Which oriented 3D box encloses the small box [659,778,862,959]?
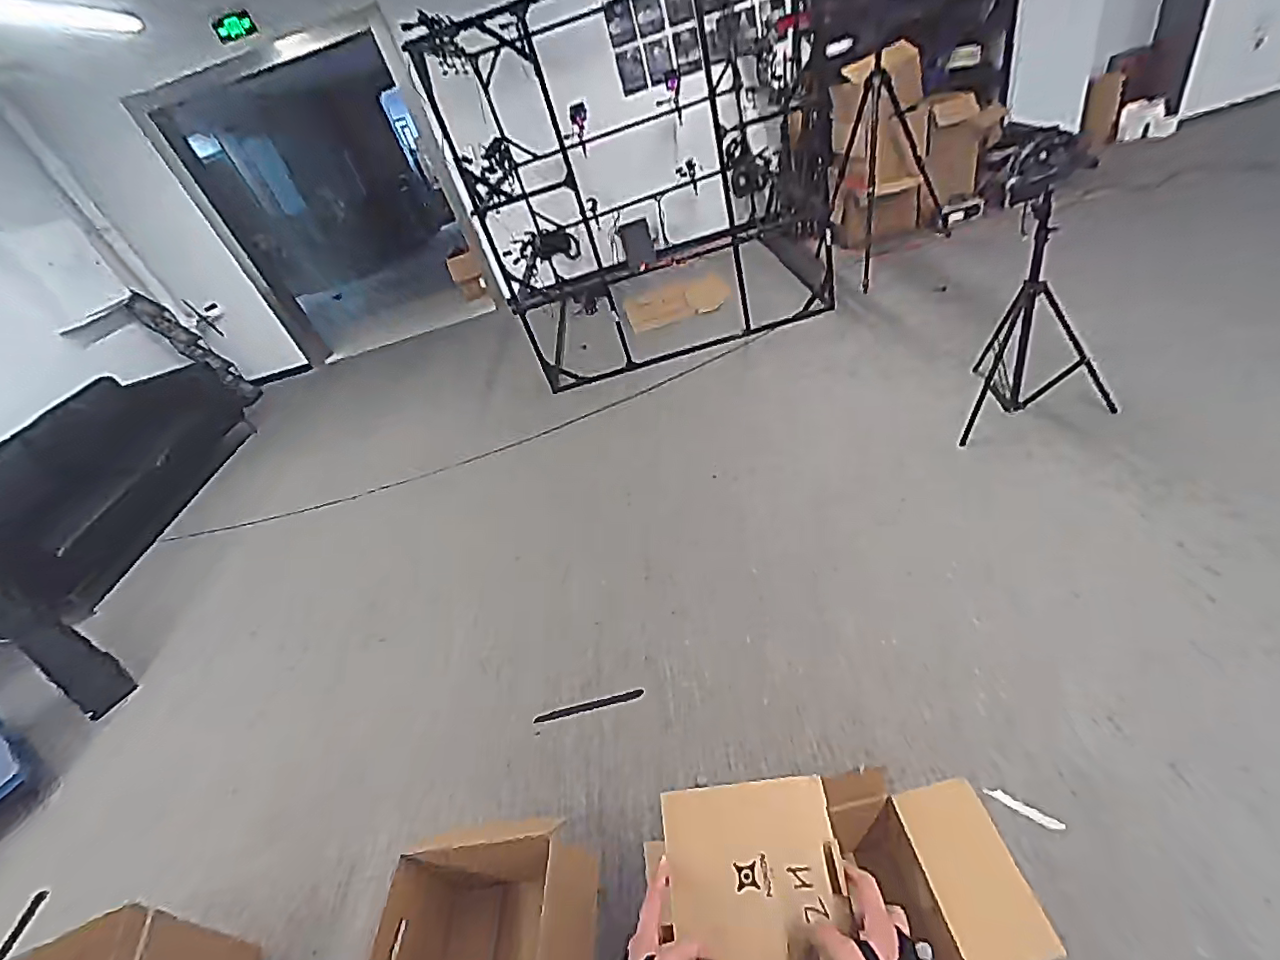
[{"bbox_3d":[0.122,0.437,0.594,0.179,0.176,0.168,-7,54,3],"label":"small box"}]
